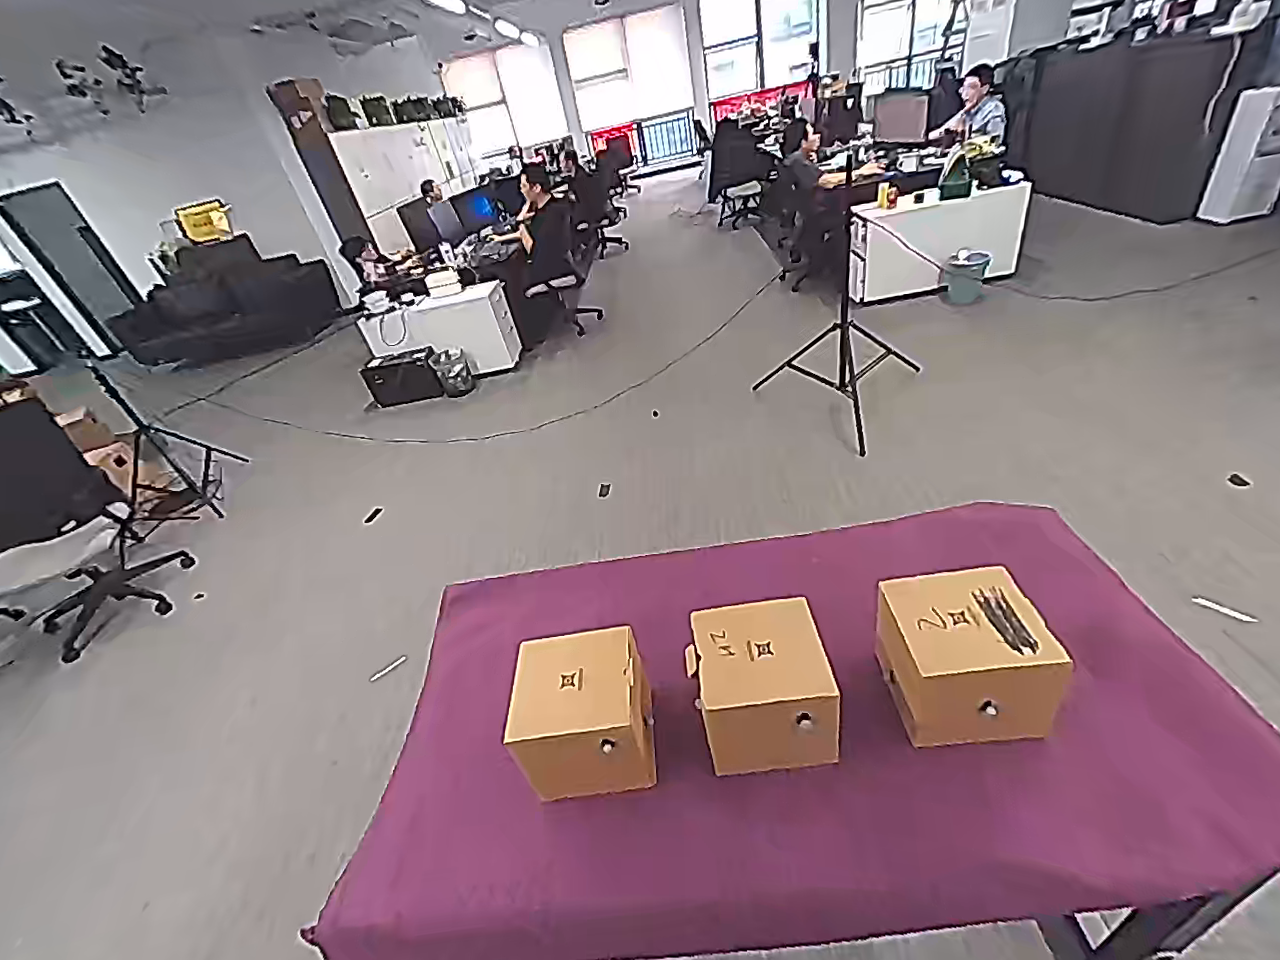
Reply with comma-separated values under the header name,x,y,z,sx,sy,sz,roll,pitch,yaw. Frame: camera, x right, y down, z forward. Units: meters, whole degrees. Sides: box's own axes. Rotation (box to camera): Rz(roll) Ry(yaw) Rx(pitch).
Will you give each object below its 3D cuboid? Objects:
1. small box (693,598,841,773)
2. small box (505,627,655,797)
name,x,y,z,sx,sy,sz,roll,pitch,yaw
small box,0.180,0.301,0.791,0.179,0.176,0.168,-10,34,6
small box,-0.081,0.351,0.814,0.179,0.176,0.168,-10,35,4
